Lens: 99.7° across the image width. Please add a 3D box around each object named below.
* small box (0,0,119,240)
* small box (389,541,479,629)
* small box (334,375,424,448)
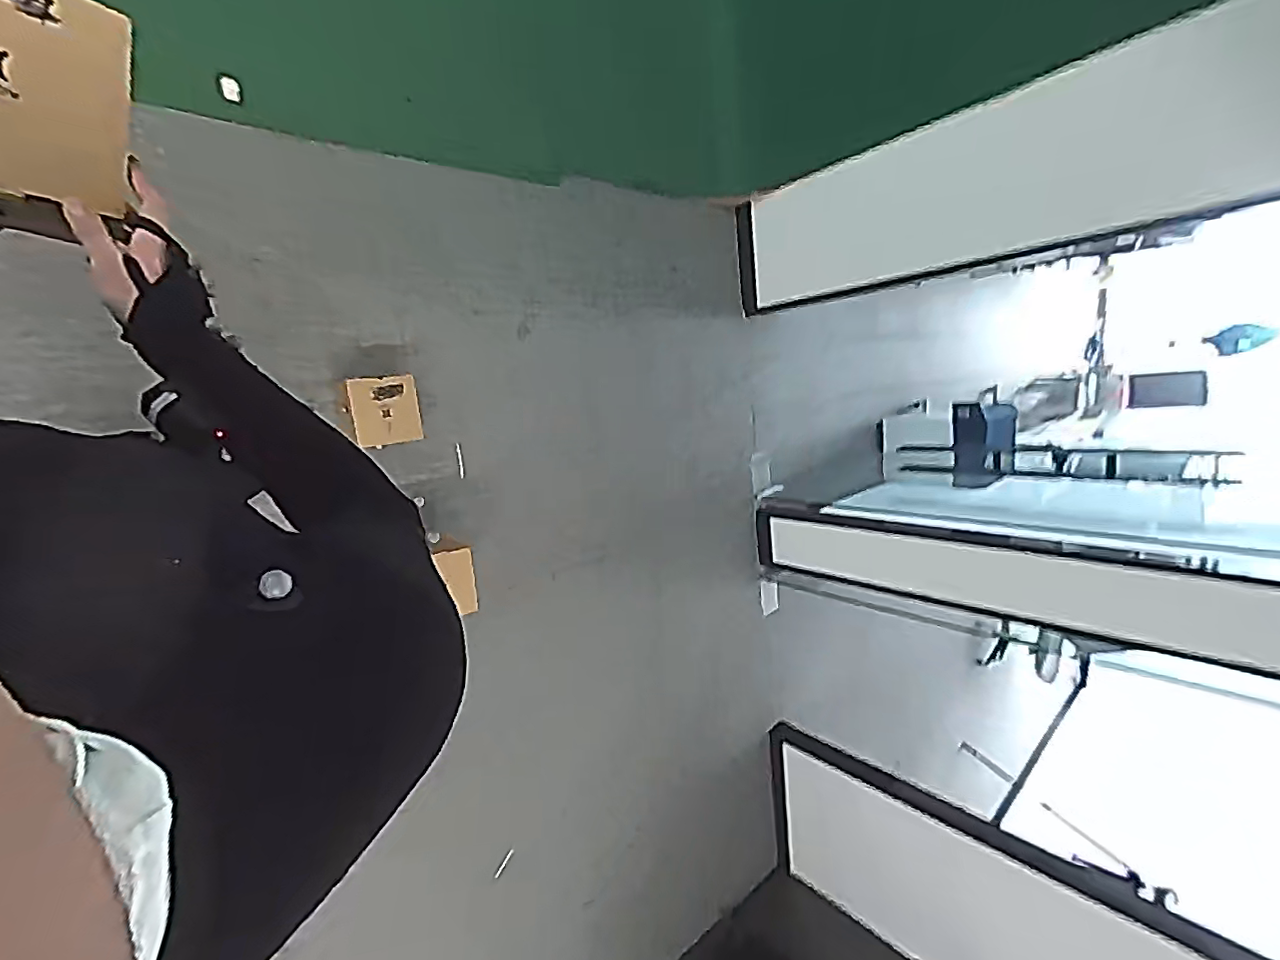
[{"bbox_3d":[-0.566,-0.326,0.465,0.168,0.176,0.179,0,98,-46],"label":"small box"},{"bbox_3d":[-0.541,0.262,1.412,0.168,0.176,0.179,-12,102,-38],"label":"small box"},{"bbox_3d":[-0.705,-0.183,1.455,0.168,0.176,0.179,-14,103,-38],"label":"small box"}]
